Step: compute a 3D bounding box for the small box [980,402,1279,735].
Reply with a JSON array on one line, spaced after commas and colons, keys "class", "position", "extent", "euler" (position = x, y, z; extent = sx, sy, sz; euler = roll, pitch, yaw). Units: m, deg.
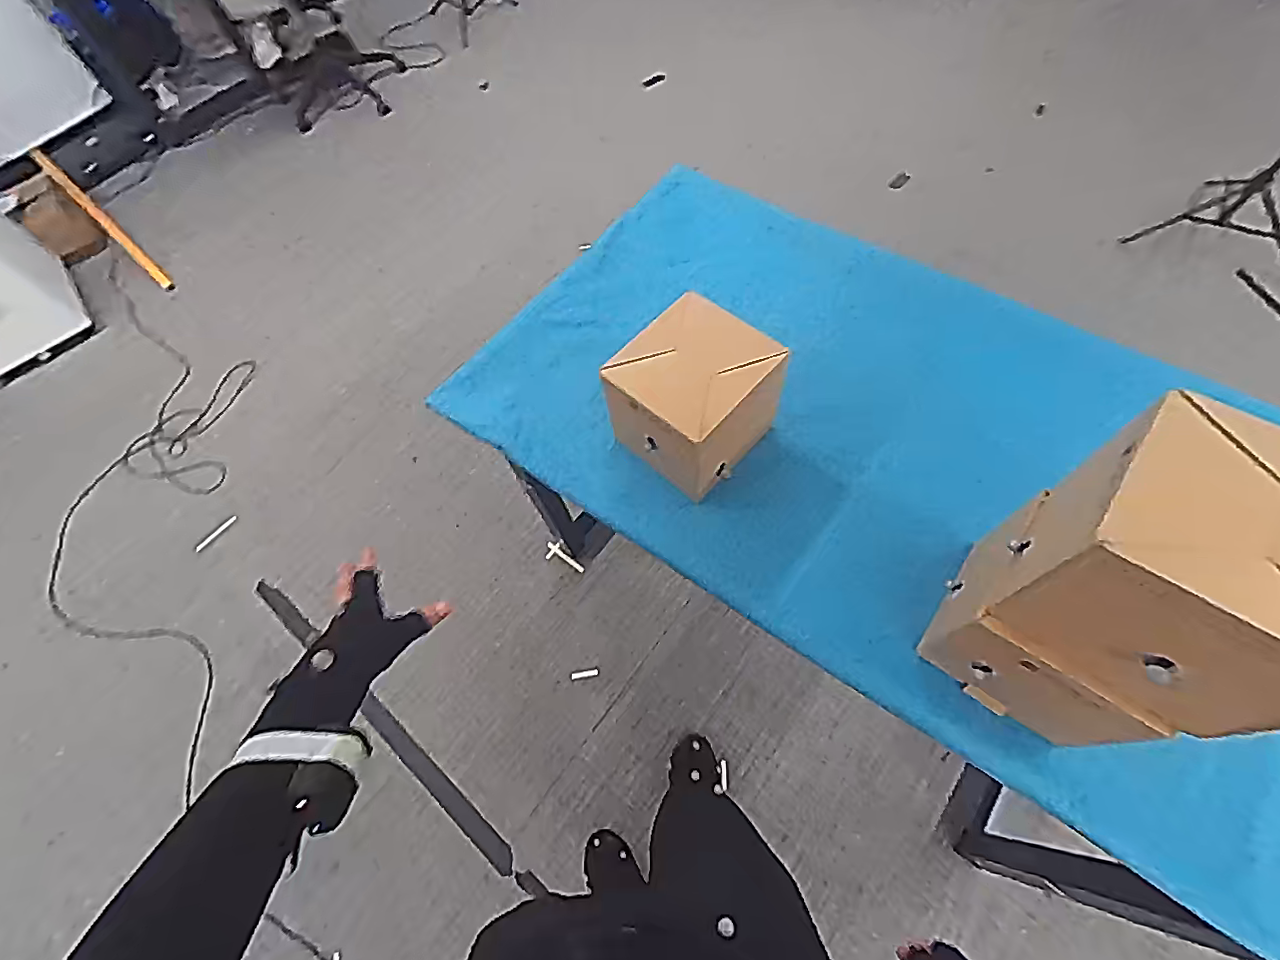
[{"class": "small box", "position": [0.427, 0.072, 0.434], "extent": [0.179, 0.176, 0.168], "euler": [34, 68, 23]}]

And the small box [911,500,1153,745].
[{"class": "small box", "position": [0.431, 0.150, 0.578], "extent": [0.168, 0.176, 0.179], "euler": [33, 69, 20]}]

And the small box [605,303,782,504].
[{"class": "small box", "position": [0.071, -0.105, 0.741], "extent": [0.168, 0.176, 0.179], "euler": [39, 73, 21]}]
